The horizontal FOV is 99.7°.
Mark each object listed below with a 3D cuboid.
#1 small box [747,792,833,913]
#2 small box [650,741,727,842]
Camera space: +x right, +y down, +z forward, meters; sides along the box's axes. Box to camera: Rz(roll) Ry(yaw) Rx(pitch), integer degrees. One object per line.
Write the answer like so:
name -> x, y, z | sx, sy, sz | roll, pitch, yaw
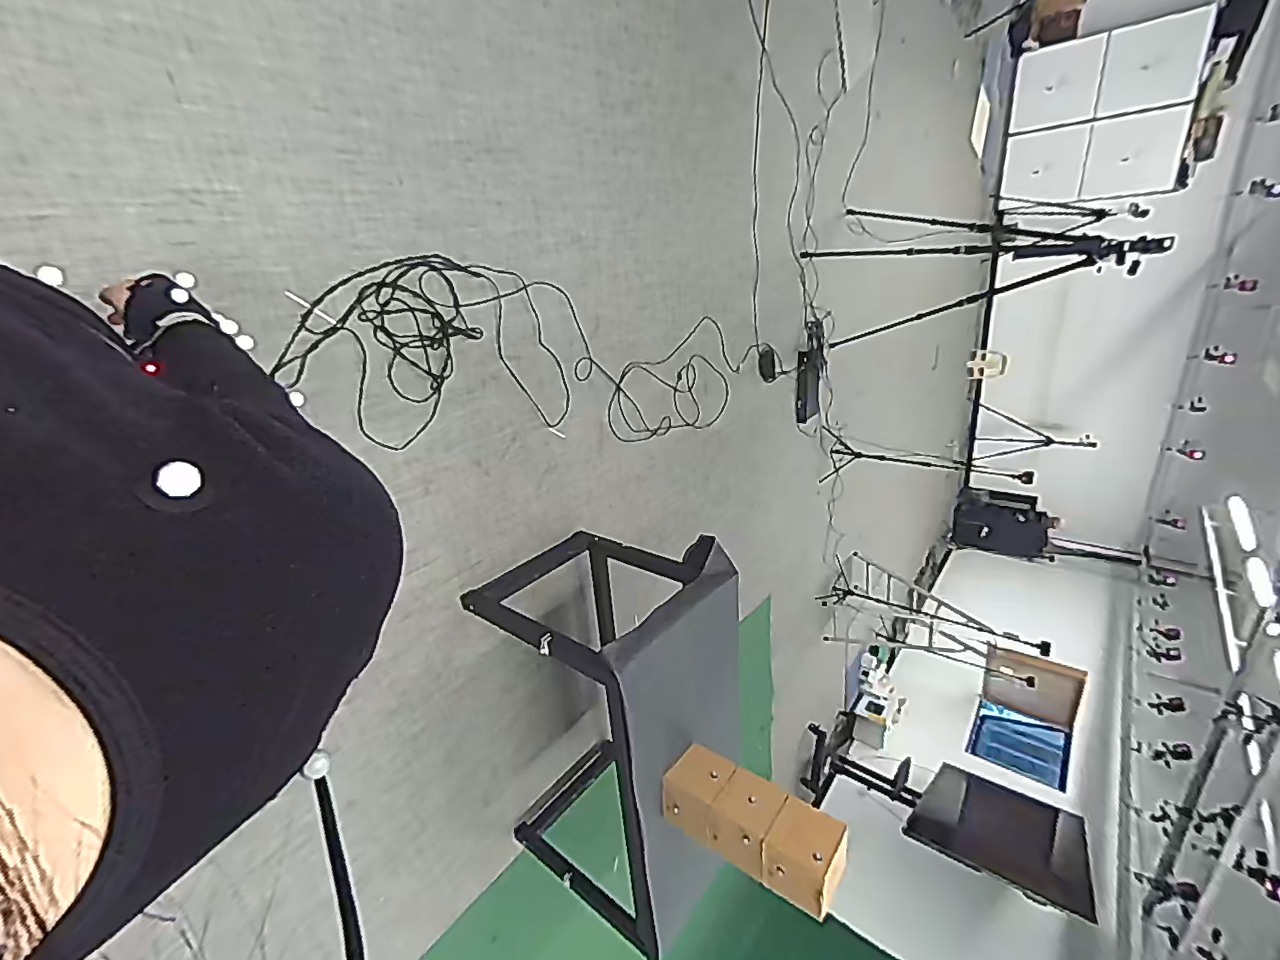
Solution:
small box -> 0.407, 0.998, 1.467 | 0.179, 0.176, 0.168 | -27, 121, -46
small box -> 0.150, 0.945, 1.661 | 0.179, 0.176, 0.168 | -21, 116, -48
